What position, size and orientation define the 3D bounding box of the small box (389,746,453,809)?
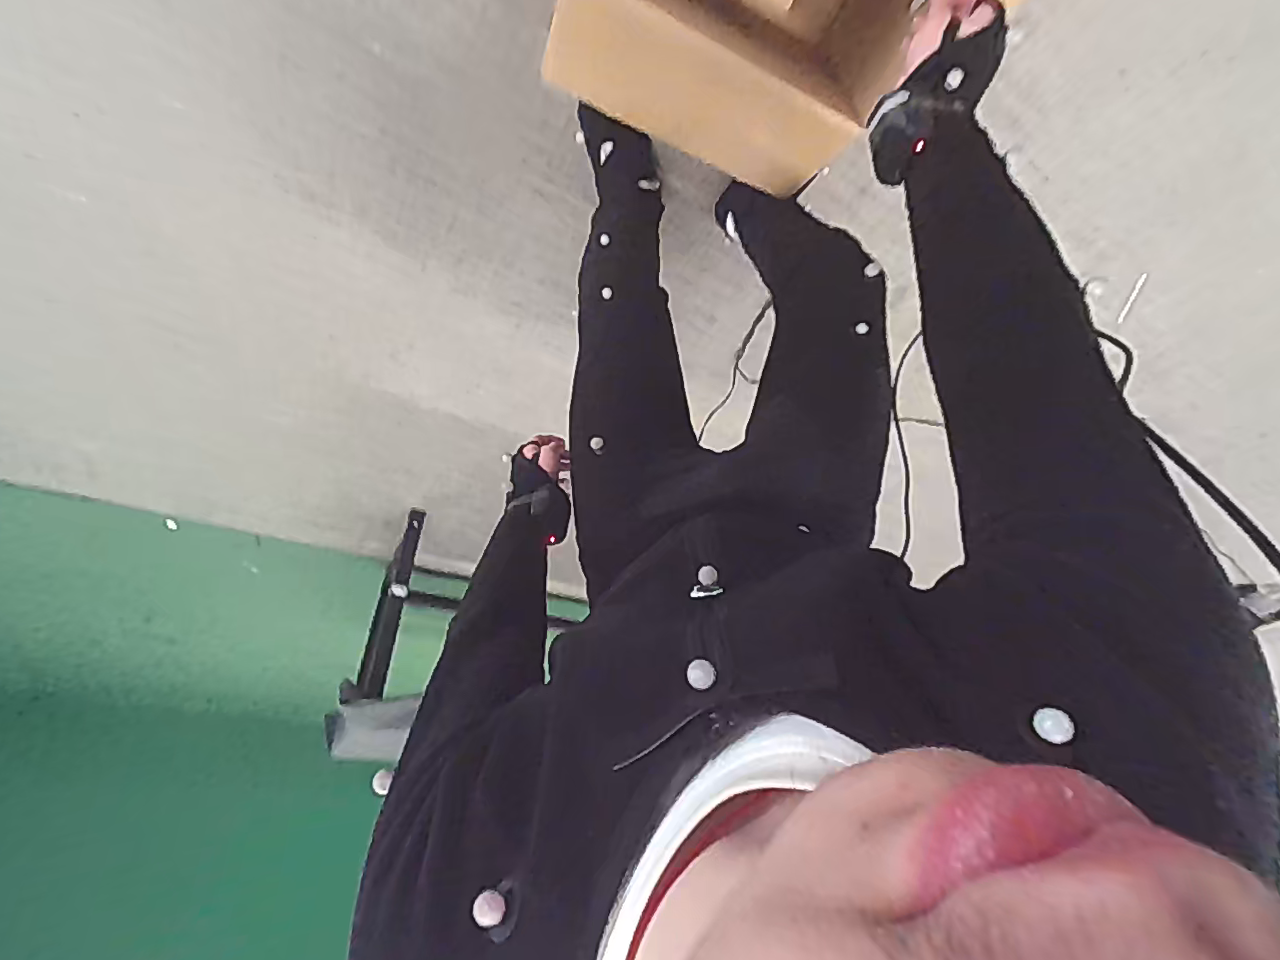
[{"bbox_3d":[-0.730,0.996,1.809,0.168,0.176,0.179,14,142,-18],"label":"small box"}]
